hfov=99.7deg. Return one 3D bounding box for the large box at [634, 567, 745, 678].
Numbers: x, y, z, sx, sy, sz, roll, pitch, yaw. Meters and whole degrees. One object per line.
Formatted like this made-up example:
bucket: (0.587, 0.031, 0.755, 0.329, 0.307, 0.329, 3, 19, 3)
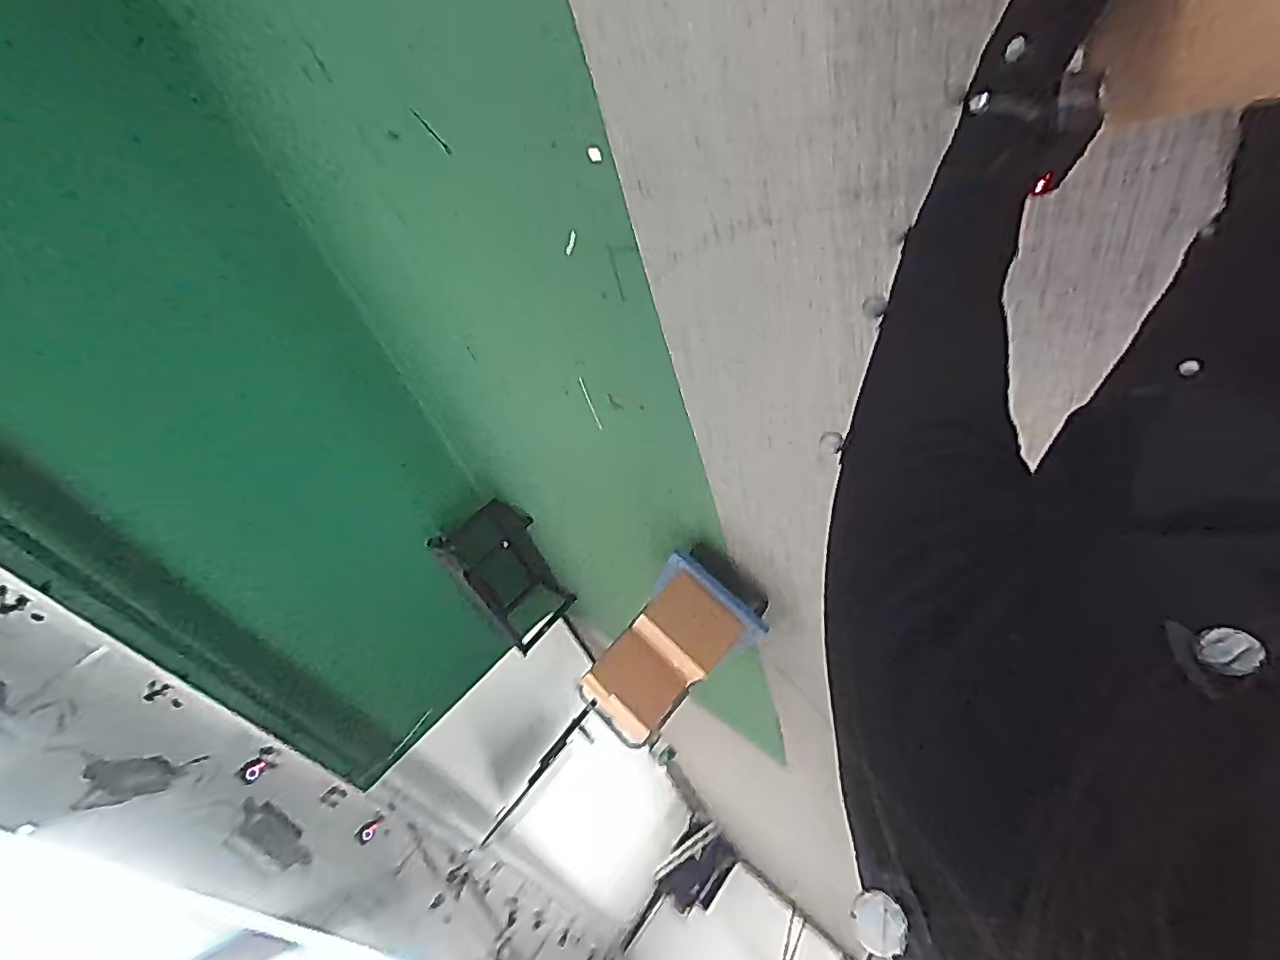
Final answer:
large box: (0.235, 0.700, 2.655, 0.408, 0.320, 0.320, 41, 155, 10)
